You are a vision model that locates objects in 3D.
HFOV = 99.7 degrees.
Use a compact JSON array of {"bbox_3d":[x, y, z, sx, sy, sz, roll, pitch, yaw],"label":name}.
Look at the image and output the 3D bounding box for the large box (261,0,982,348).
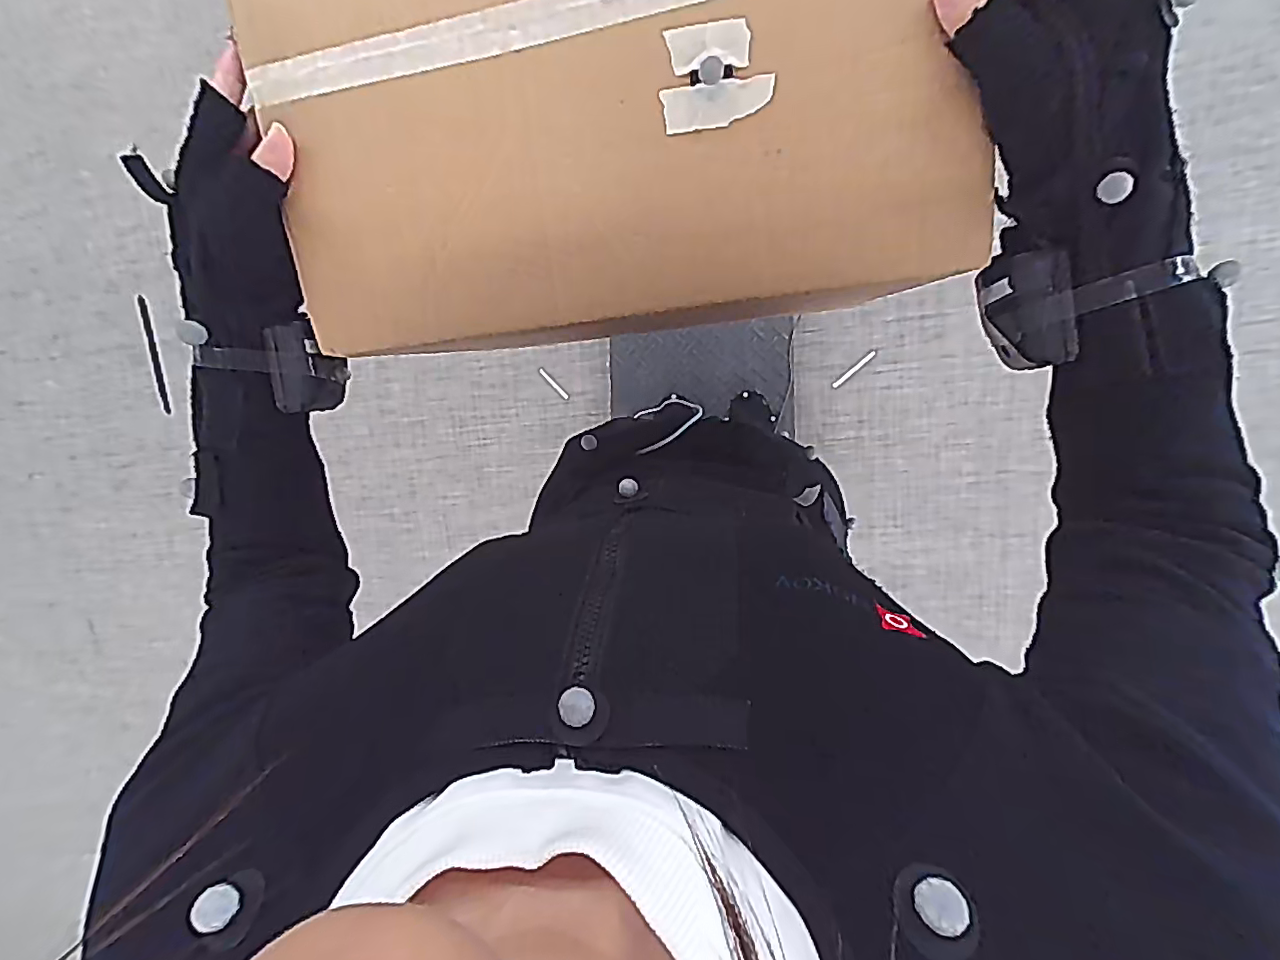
[{"bbox_3d":[-0.006,-0.293,0.441,0.408,0.320,0.320,-5,104,9],"label":"large box"}]
